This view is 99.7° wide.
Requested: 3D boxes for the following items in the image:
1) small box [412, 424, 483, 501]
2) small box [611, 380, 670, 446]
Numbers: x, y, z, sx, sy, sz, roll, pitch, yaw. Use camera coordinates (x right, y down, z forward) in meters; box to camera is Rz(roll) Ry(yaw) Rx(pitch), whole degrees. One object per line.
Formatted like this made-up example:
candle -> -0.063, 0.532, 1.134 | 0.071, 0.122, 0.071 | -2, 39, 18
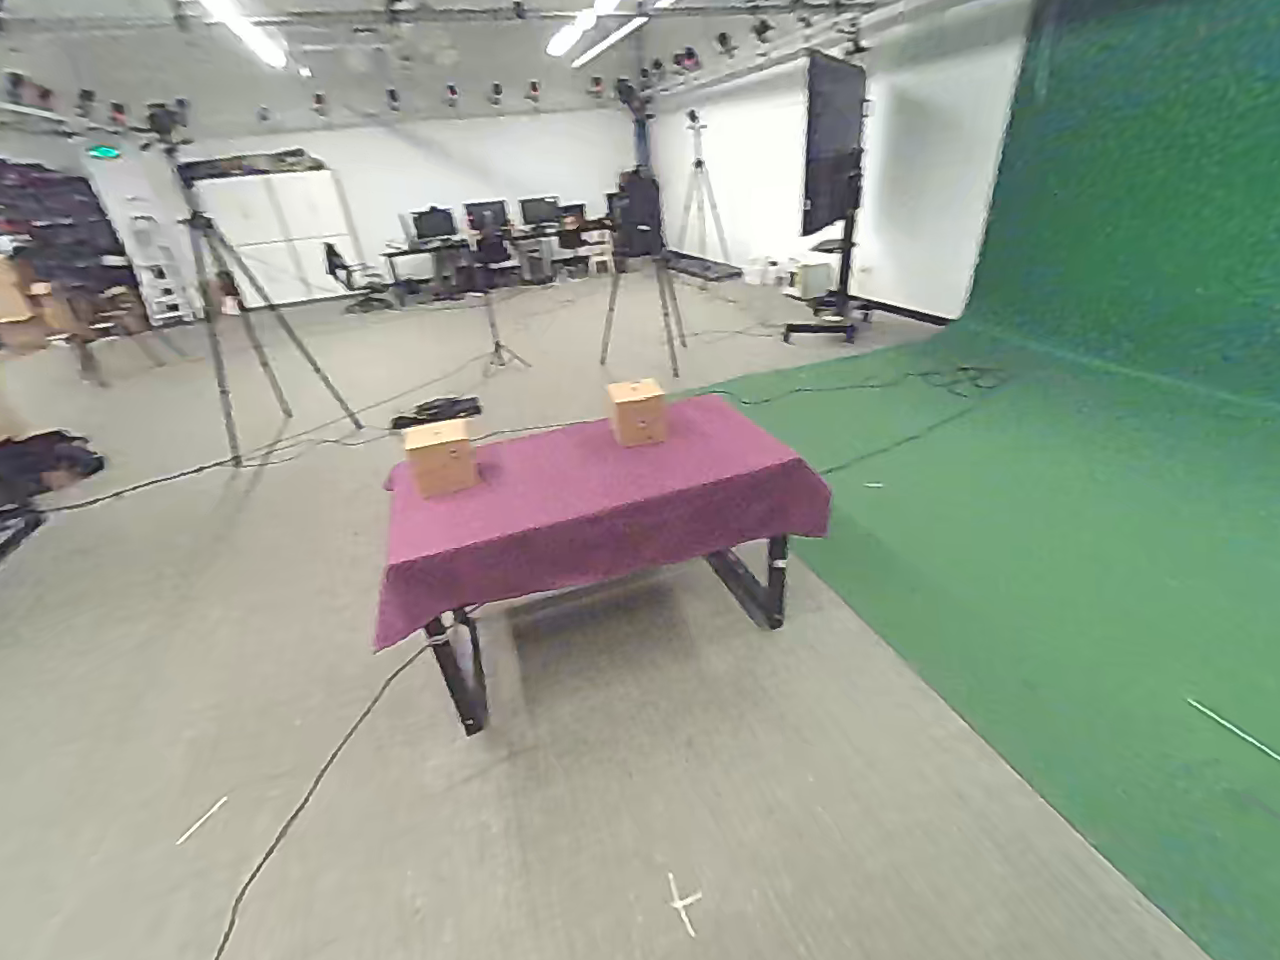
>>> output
small box -> -0.597, -0.056, 1.696 | 0.179, 0.176, 0.168 | -14, 31, -13
small box -> 0.002, -0.225, 1.864 | 0.168, 0.176, 0.179 | -11, 31, -8
